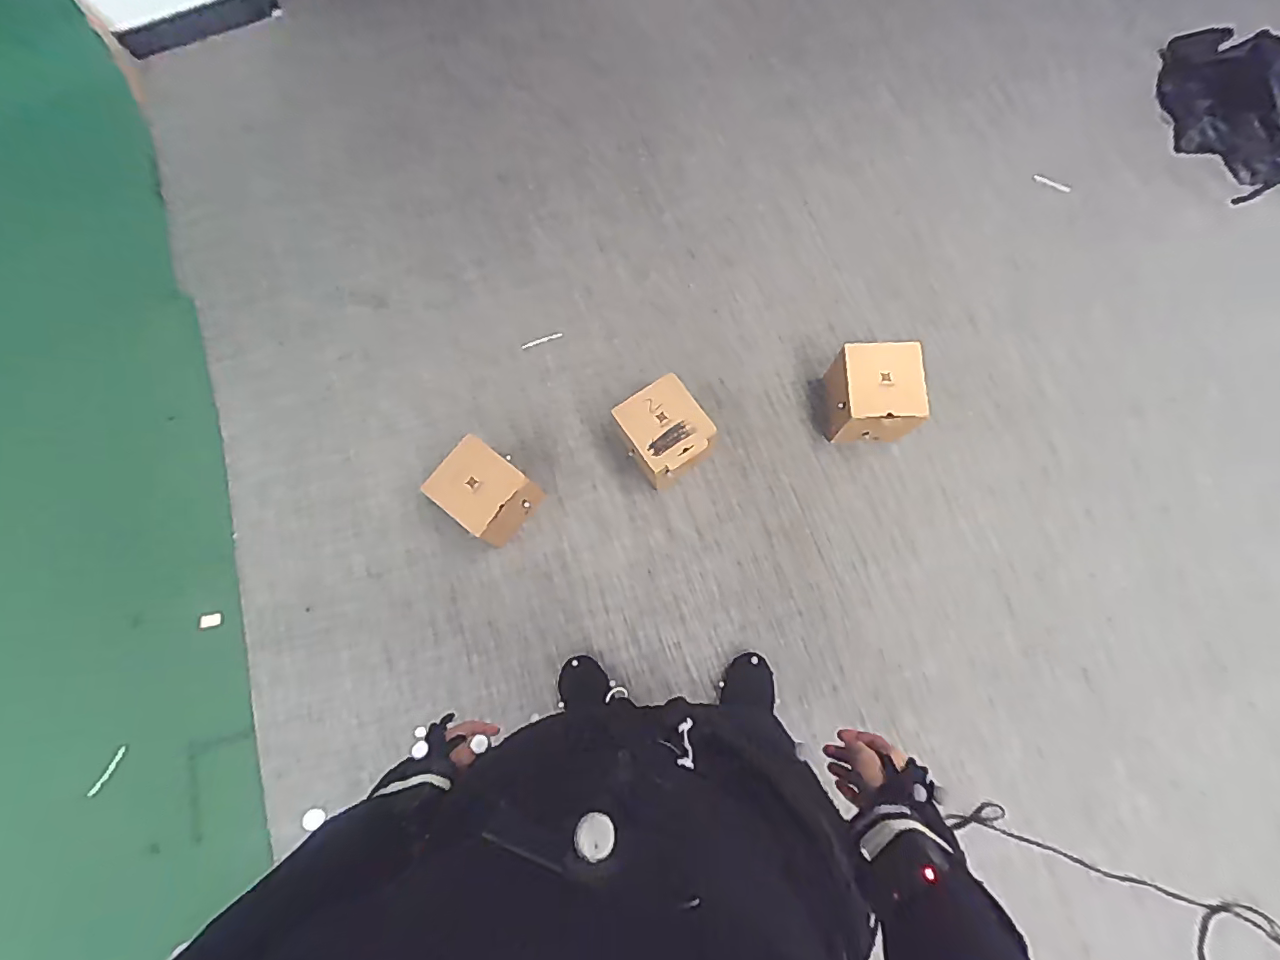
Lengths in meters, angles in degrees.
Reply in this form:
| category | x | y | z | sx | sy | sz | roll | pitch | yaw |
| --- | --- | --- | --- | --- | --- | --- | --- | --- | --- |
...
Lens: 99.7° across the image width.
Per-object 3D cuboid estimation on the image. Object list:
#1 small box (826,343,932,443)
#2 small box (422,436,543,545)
| category | x | y | z | sx | sy | sz | roll | pitch | yaw |
| --- | --- | --- | --- | --- | --- | --- | --- | --- | --- |
| small box | 0.533 | -0.194 | 1.232 | 0.168 | 0.176 | 0.179 | -1 | 76 | 3 |
| small box | -0.347 | 0.032 | 1.228 | 0.179 | 0.176 | 0.168 | 36 | 79 | 12 |
